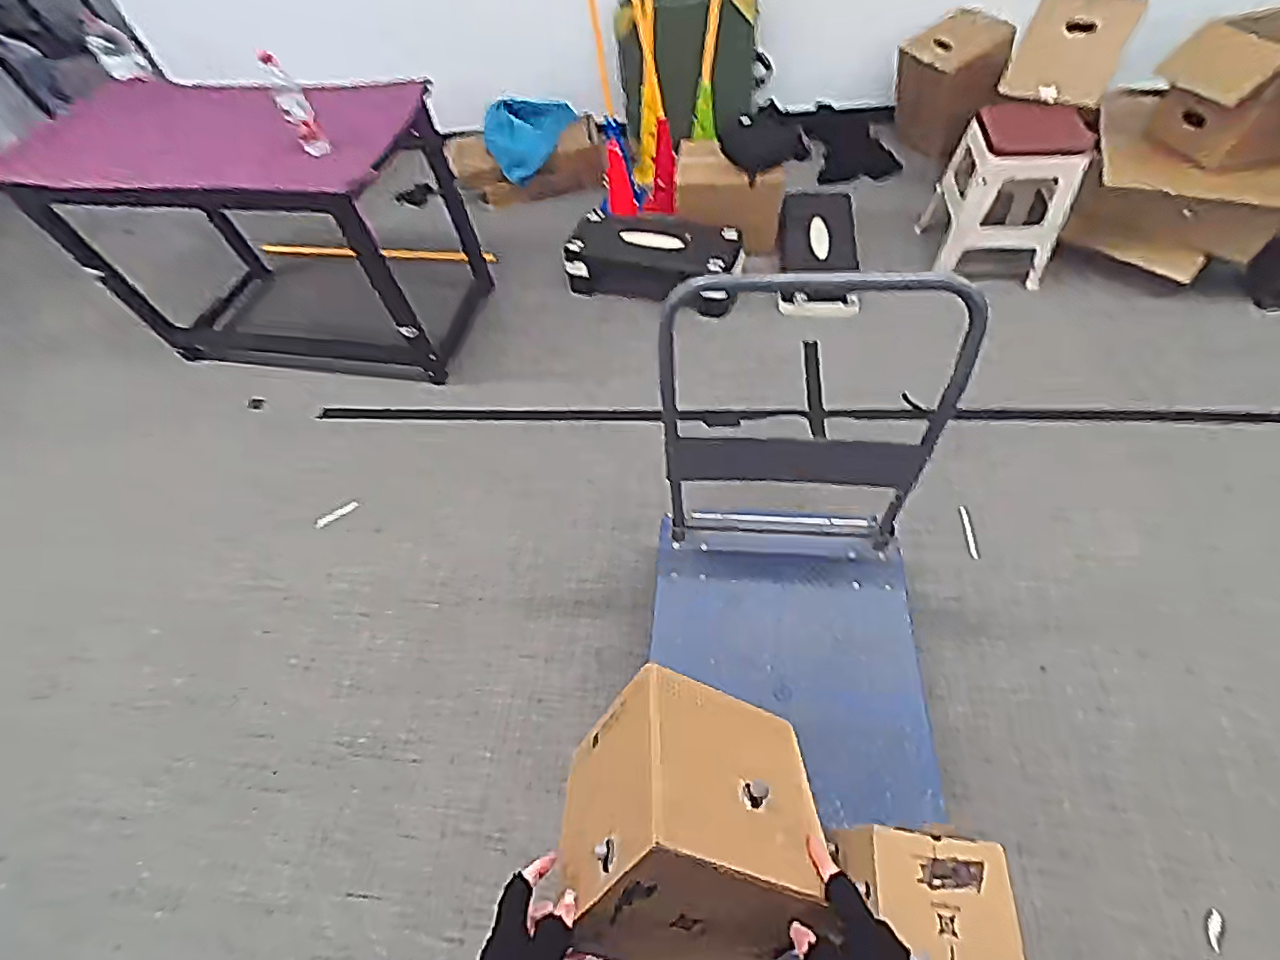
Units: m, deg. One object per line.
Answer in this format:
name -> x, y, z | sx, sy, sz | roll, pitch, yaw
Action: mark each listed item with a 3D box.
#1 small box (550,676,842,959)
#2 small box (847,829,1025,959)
small box -> 0.039, 0.309, 0.490 | 0.179, 0.168, 0.176 | 26, 25, -16
small box -> 0.388, 0.592, 0.735 | 0.168, 0.176, 0.179 | 4, 57, 9
